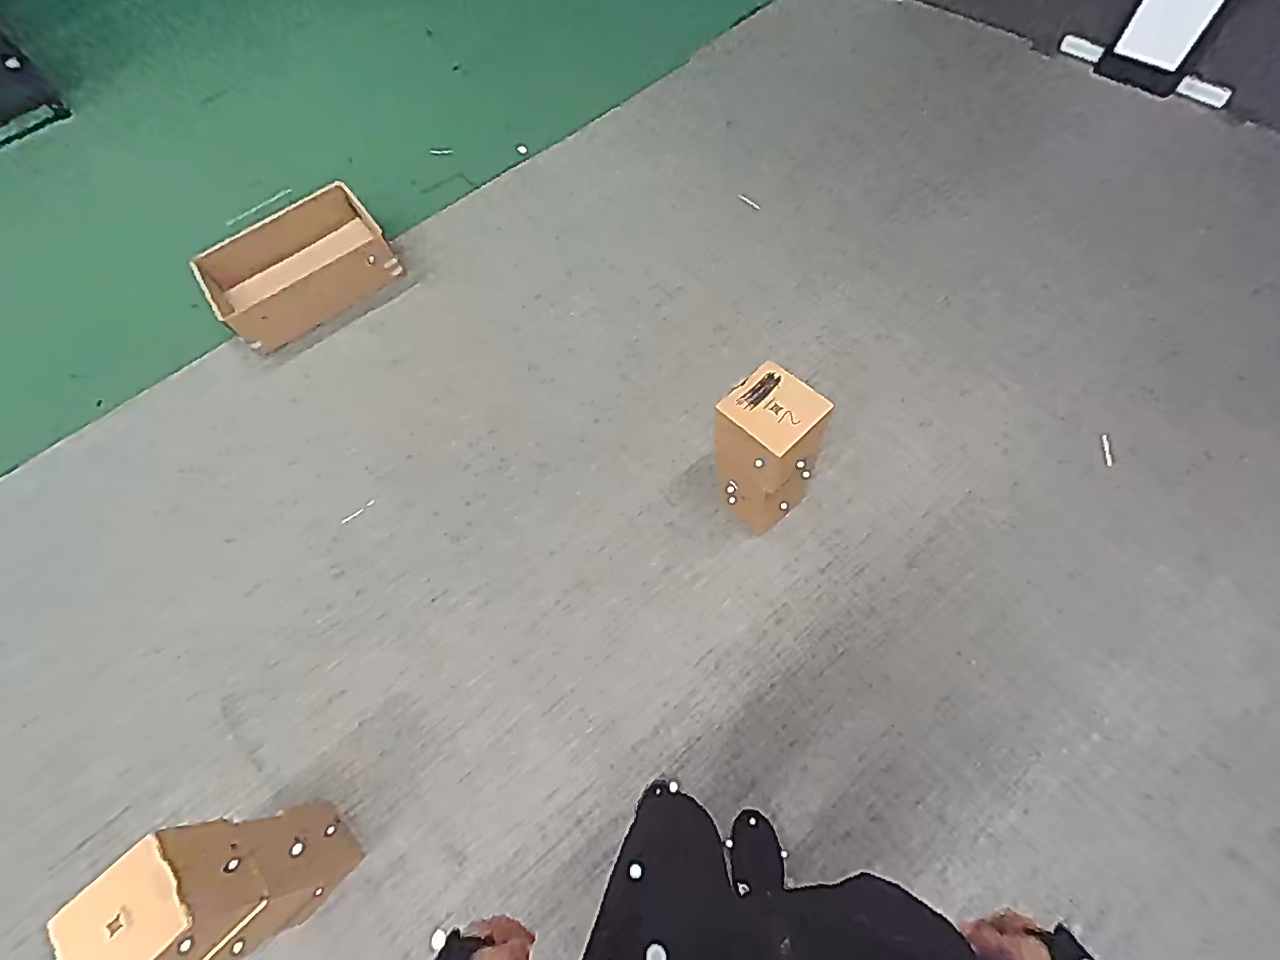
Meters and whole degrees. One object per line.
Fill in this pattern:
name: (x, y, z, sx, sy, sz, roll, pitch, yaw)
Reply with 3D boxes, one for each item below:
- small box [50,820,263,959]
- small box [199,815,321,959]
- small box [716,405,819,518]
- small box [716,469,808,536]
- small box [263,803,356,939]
small box: (-0.779, 0.700, 0.887, 0.179, 0.176, 0.168, -43, 67, -15)
small box: (-0.761, 0.778, 1.029, 0.179, 0.176, 0.168, -42, 67, -14)
small box: (0.299, -0.040, 1.309, 0.179, 0.176, 0.168, -38, 64, -11)
small box: (0.320, 0.021, 1.458, 0.168, 0.176, 0.179, -38, 65, -11)
small box: (-0.758, 0.841, 1.180, 0.168, 0.176, 0.179, 38, 74, 22)
